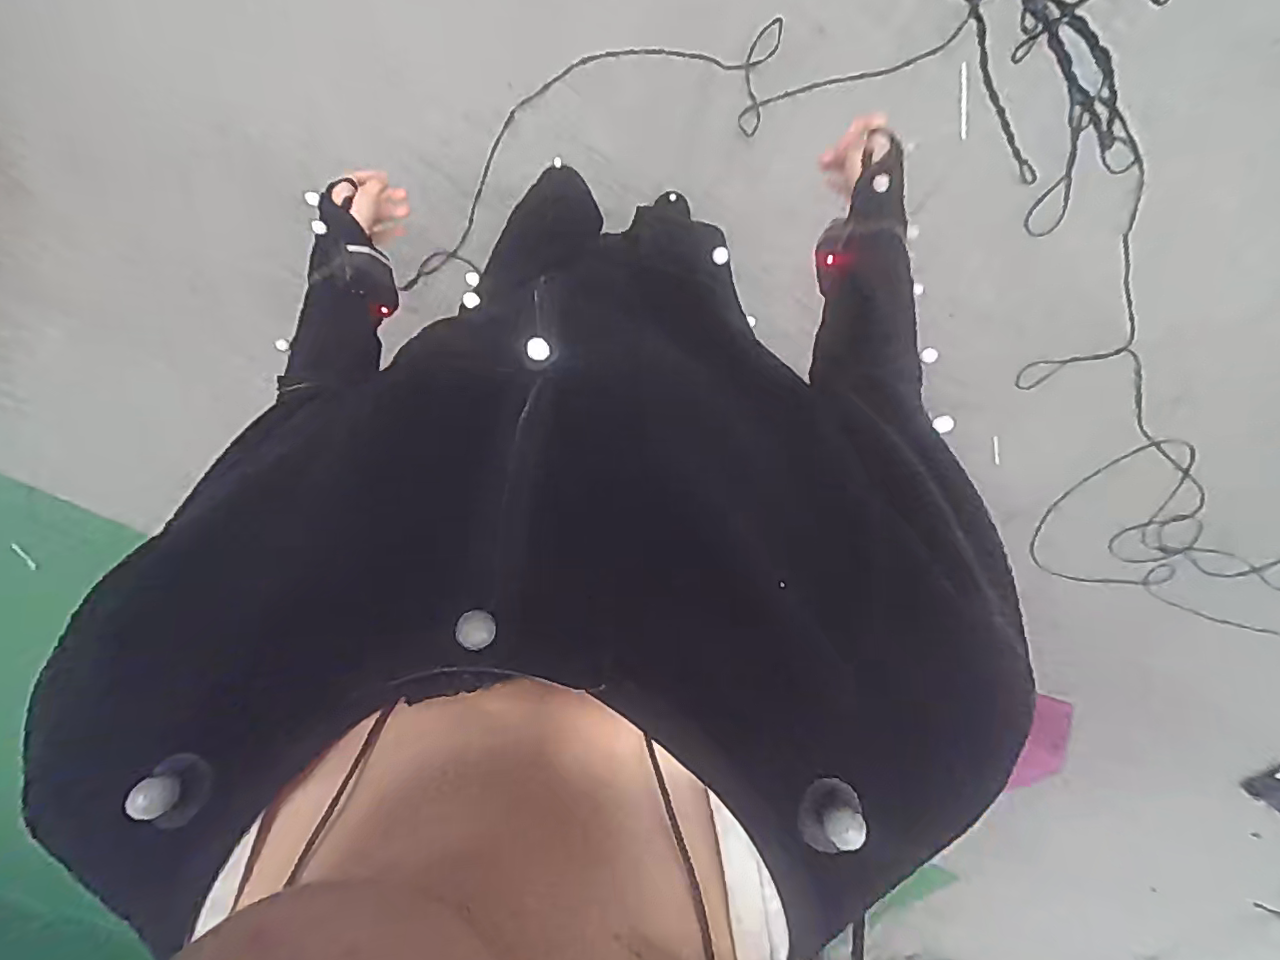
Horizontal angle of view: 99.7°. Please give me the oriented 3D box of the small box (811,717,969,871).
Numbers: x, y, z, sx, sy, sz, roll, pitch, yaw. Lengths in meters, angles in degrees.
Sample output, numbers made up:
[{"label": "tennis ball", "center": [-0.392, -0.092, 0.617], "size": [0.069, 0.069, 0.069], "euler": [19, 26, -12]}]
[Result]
[{"label": "small box", "center": [0.445, 0.571, 0.999], "size": [0.179, 0.176, 0.168], "euler": [27, 116, -13]}]
